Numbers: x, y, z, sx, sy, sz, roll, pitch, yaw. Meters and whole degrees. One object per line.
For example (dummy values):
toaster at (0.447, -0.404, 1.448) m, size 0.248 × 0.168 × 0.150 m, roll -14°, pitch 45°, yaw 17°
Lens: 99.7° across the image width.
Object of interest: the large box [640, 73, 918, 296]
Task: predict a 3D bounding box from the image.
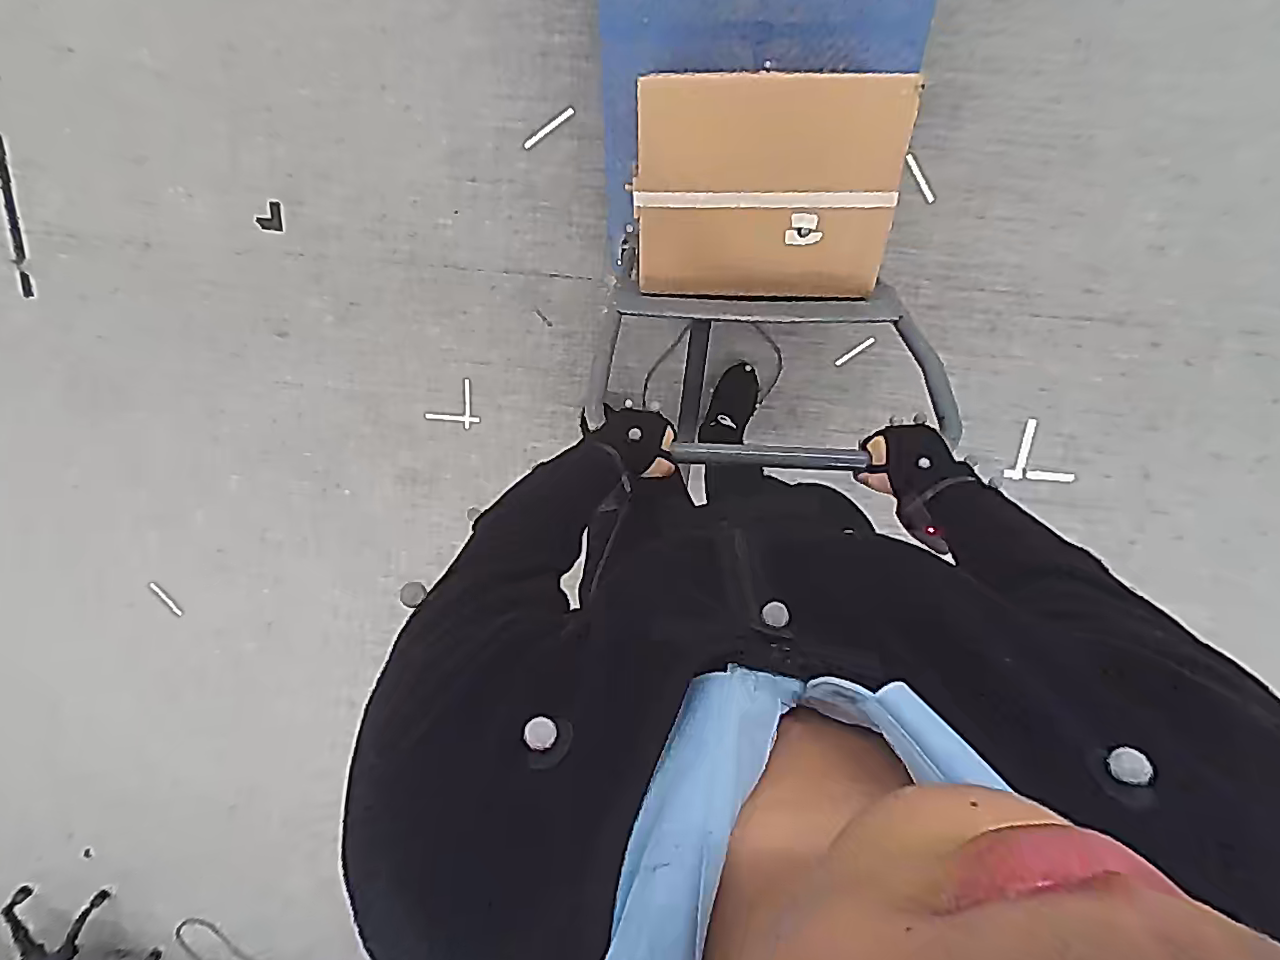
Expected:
large box at (0.213, -0.544, 0.989) m, size 0.408 × 0.320 × 0.320 m, roll 1°, pitch 128°, yaw 4°
